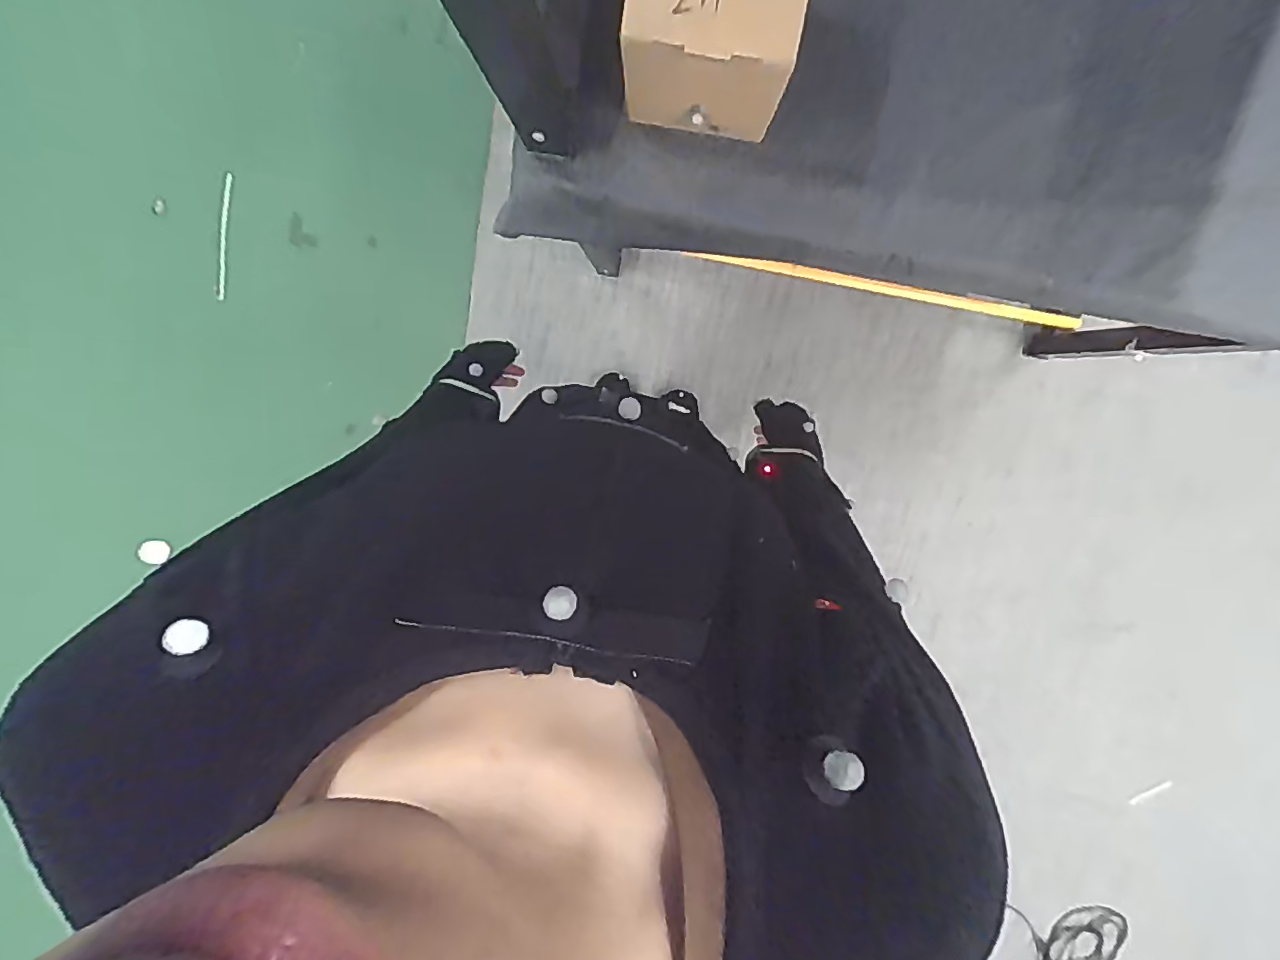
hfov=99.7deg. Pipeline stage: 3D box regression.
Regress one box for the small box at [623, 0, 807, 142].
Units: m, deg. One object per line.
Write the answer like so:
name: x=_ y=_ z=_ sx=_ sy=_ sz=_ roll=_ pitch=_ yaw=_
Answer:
small box: x=0.078 y=-0.492 z=0.562 sx=0.168 sy=0.176 sz=0.179 roll=9 pitch=101 yaw=0
